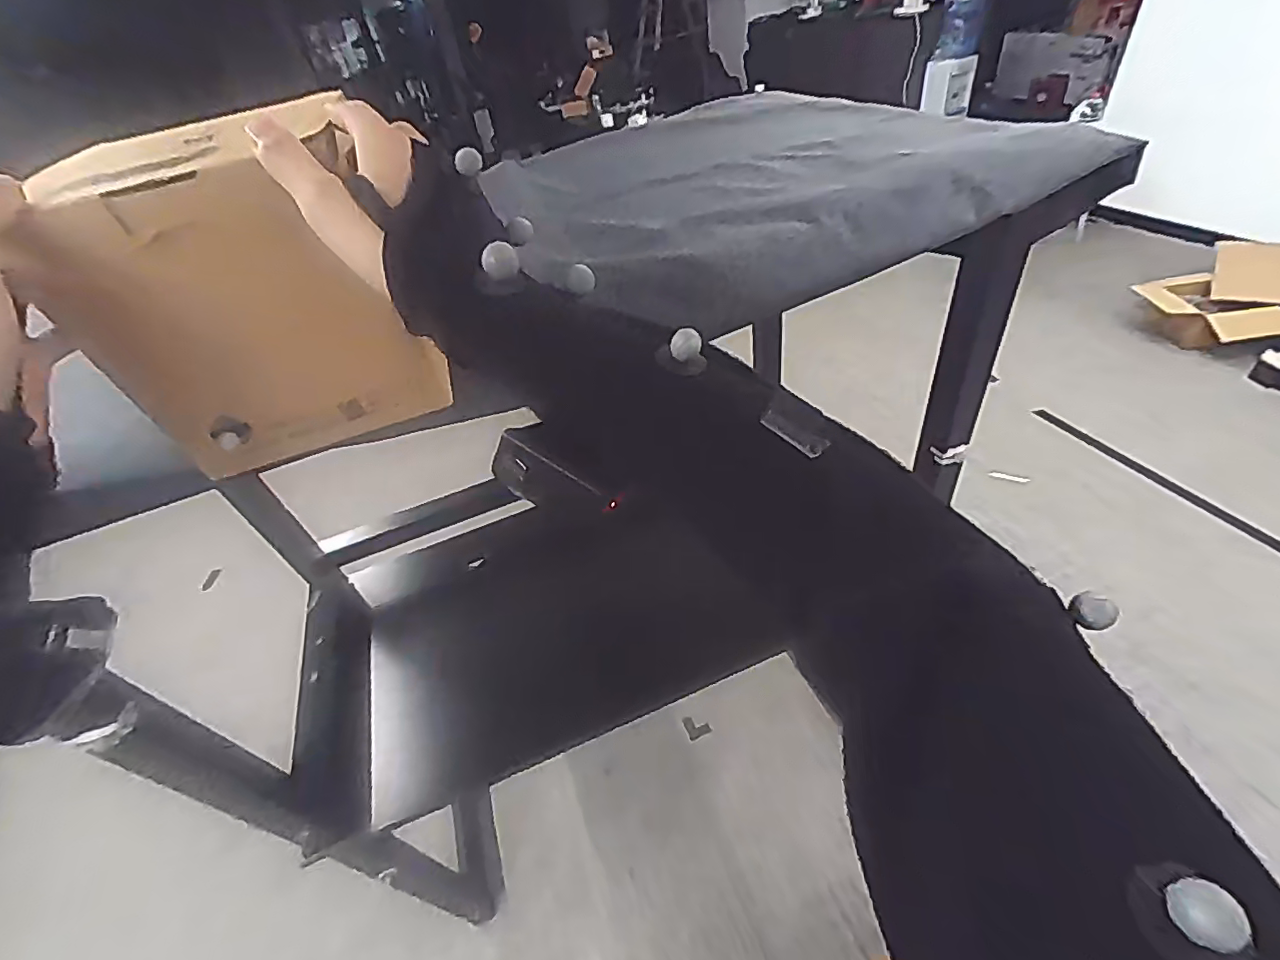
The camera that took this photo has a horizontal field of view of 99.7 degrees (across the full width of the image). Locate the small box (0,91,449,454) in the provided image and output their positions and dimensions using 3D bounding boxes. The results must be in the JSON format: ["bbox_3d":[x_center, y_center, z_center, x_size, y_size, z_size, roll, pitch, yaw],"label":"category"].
[{"bbox_3d":[-0.244,-0.137,0.372,0.168,0.176,0.179,-19,44,-7],"label":"small box"}]
